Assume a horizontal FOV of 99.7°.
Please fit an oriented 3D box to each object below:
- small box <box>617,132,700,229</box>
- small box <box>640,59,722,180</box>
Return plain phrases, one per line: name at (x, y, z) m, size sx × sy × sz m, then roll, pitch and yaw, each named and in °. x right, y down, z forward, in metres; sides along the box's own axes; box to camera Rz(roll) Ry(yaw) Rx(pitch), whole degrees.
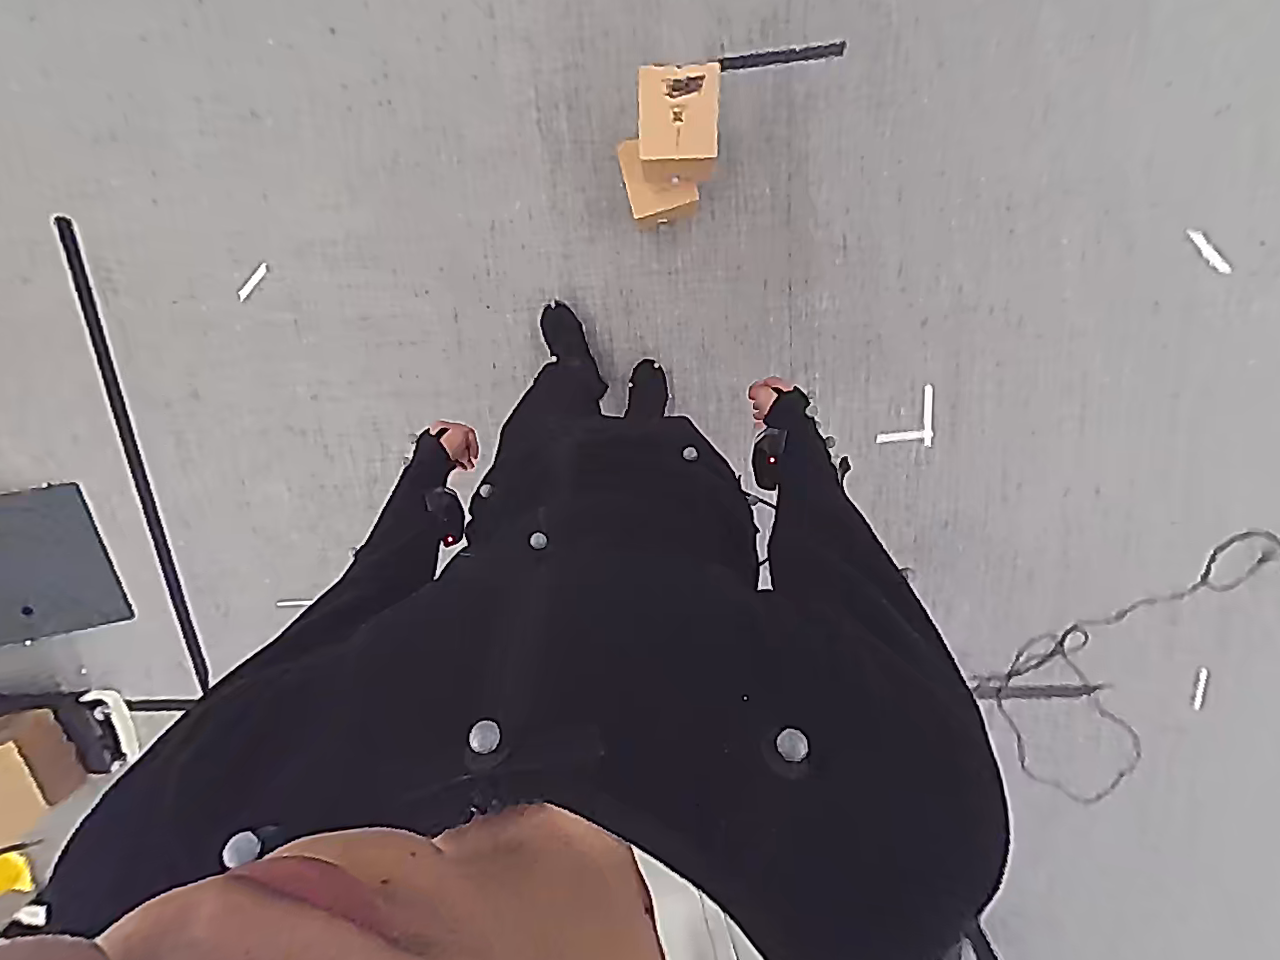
small box at (0.048, -0.755, 1.353) m, size 0.168 × 0.176 × 0.179 m, roll -14°, pitch 103°, yaw 7°
small box at (0.086, -0.774, 1.177) m, size 0.168 × 0.176 × 0.179 m, roll 1°, pitch 105°, yaw 4°
